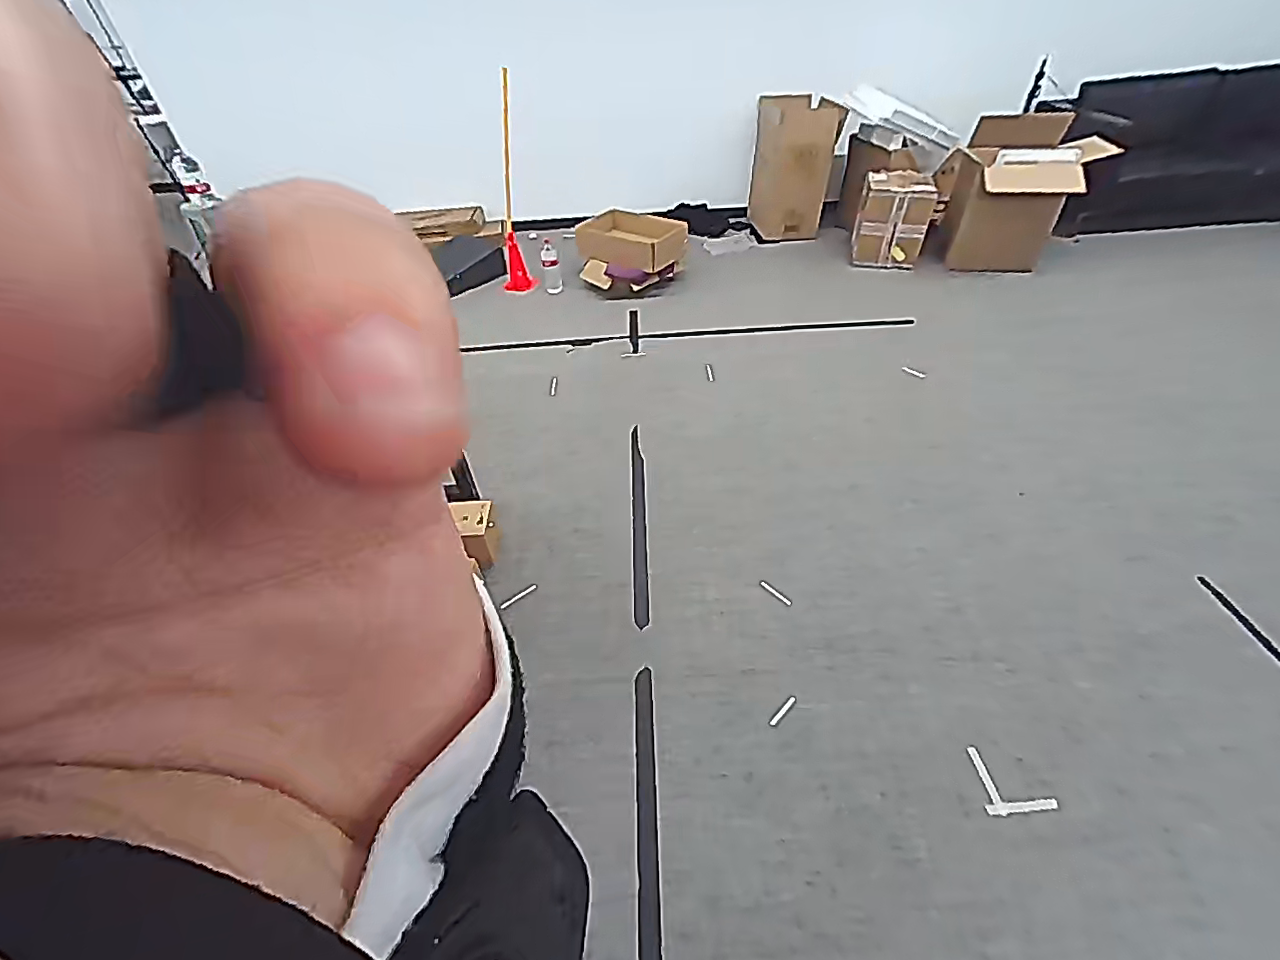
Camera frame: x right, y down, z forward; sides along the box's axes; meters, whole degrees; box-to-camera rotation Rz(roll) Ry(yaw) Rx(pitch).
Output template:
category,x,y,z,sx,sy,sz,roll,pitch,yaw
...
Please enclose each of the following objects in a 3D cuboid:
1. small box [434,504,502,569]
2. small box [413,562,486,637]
category,x,y,z,sx,sy,sz,roll,pitch,yaw
small box,-0.610,0.207,1.937,0.179,0.176,0.168,-4,43,0
small box,-0.605,0.387,1.744,0.168,0.176,0.179,-5,43,1
